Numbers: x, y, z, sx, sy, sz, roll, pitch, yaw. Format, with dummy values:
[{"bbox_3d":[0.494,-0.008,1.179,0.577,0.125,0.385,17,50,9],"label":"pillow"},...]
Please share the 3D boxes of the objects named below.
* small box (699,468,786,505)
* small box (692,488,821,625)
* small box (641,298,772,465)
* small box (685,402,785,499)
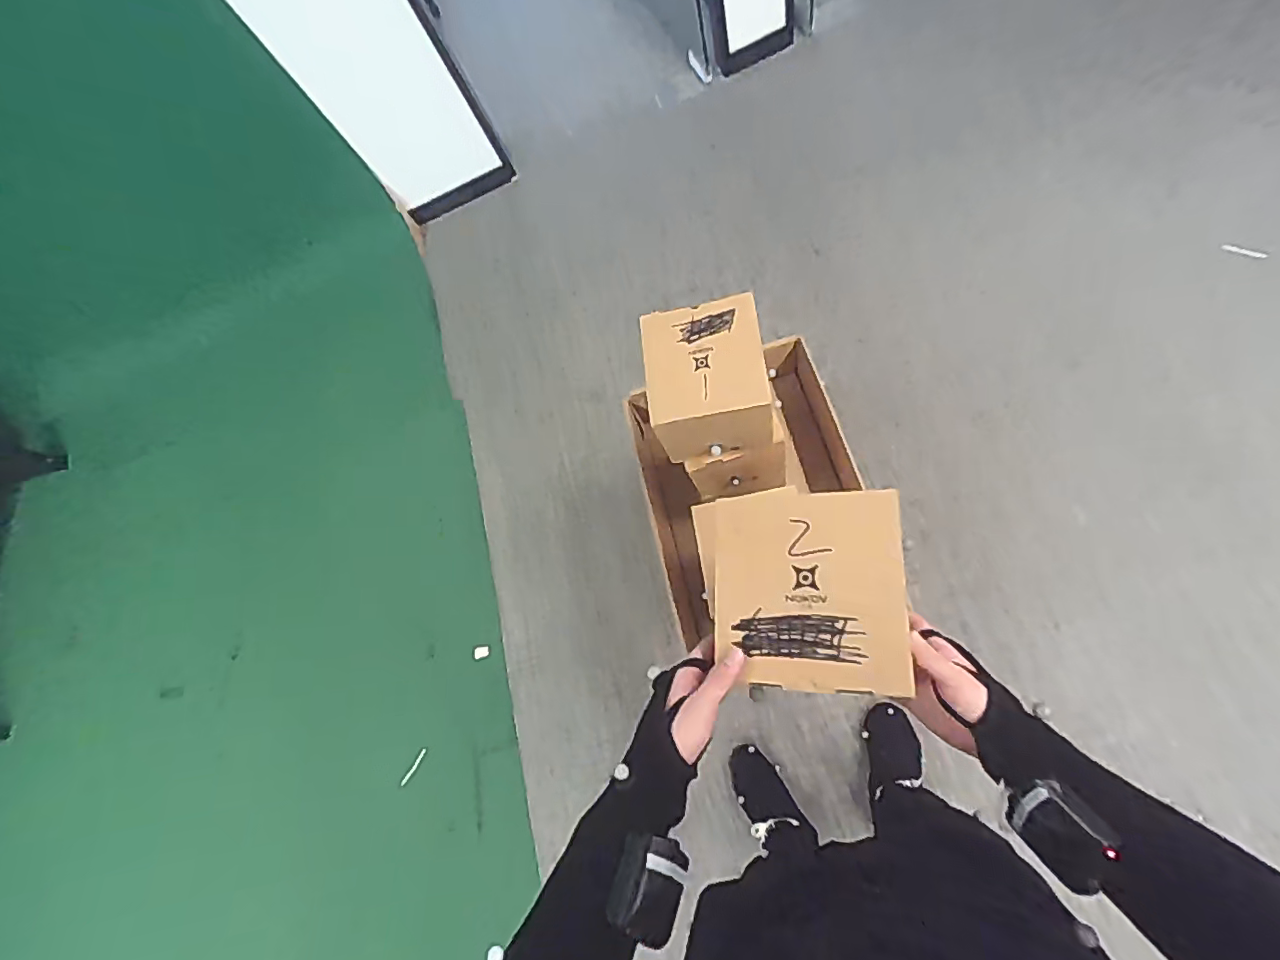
[{"bbox_3d":[0.196,-0.041,1.116,0.168,0.176,0.179,-17,70,11],"label":"small box"},{"bbox_3d":[0.190,0.134,0.874,0.168,0.176,0.179,-12,67,11],"label":"small box"},{"bbox_3d":[0.104,-0.140,0.820,0.168,0.176,0.179,-9,71,12],"label":"small box"},{"bbox_3d":[0.152,-0.087,0.968,0.168,0.176,0.179,-18,69,9],"label":"small box"}]
